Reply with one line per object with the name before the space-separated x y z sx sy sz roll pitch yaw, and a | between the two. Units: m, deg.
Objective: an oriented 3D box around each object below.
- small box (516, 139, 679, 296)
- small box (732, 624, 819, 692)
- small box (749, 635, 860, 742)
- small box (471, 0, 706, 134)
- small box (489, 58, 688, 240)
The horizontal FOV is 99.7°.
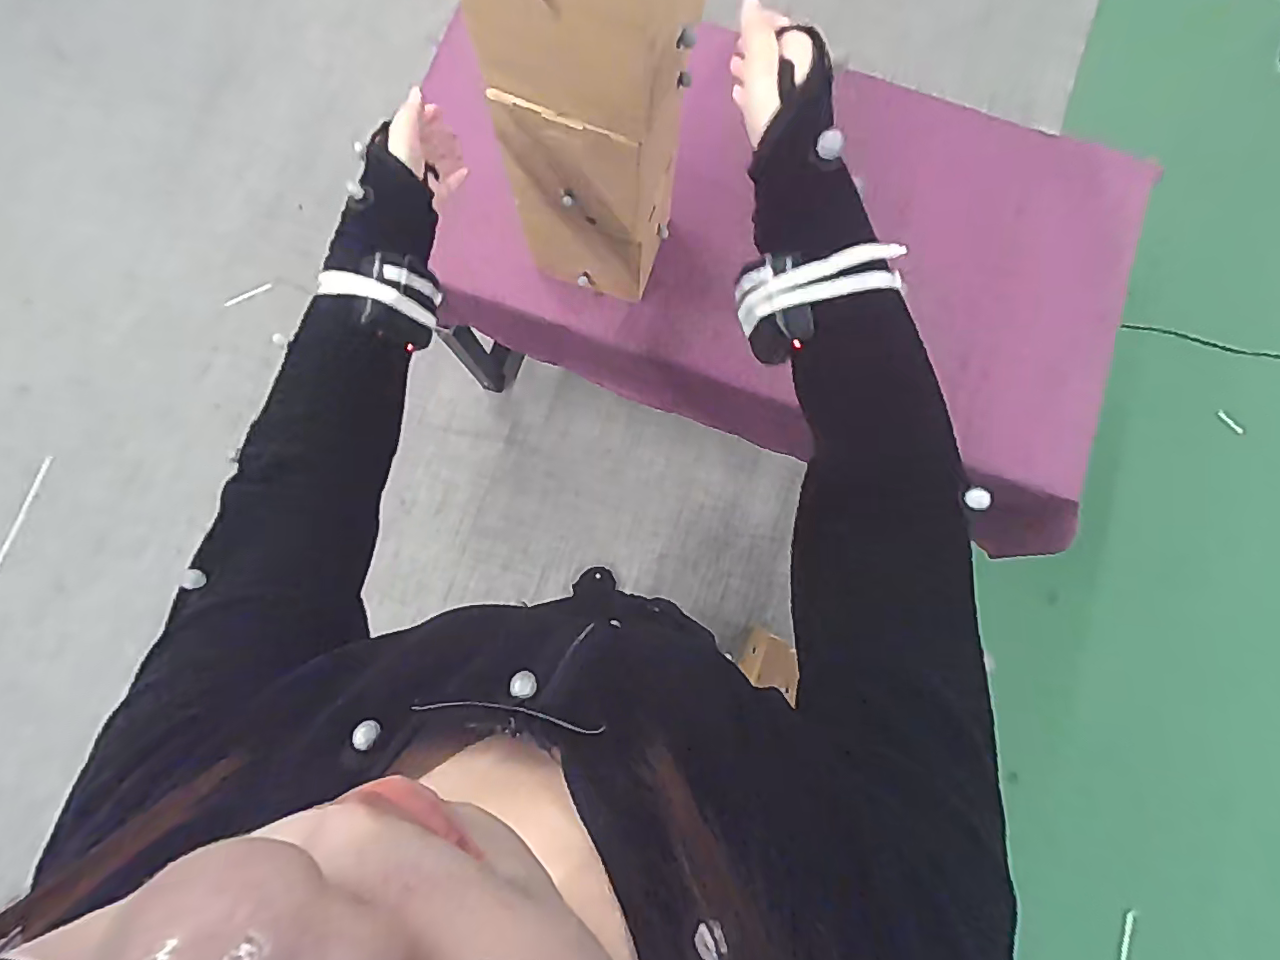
small box | -0.058 -0.394 0.789 0.179 0.176 0.168 18 81 0
small box | 0.358 0.489 1.417 0.179 0.176 0.168 24 82 1
small box | 0.371 0.472 1.255 0.179 0.176 0.168 21 83 0
small box | -0.040 -0.445 0.463 0.179 0.176 0.168 21 82 0
small box | -0.050 -0.422 0.626 0.168 0.176 0.179 20 82 1
